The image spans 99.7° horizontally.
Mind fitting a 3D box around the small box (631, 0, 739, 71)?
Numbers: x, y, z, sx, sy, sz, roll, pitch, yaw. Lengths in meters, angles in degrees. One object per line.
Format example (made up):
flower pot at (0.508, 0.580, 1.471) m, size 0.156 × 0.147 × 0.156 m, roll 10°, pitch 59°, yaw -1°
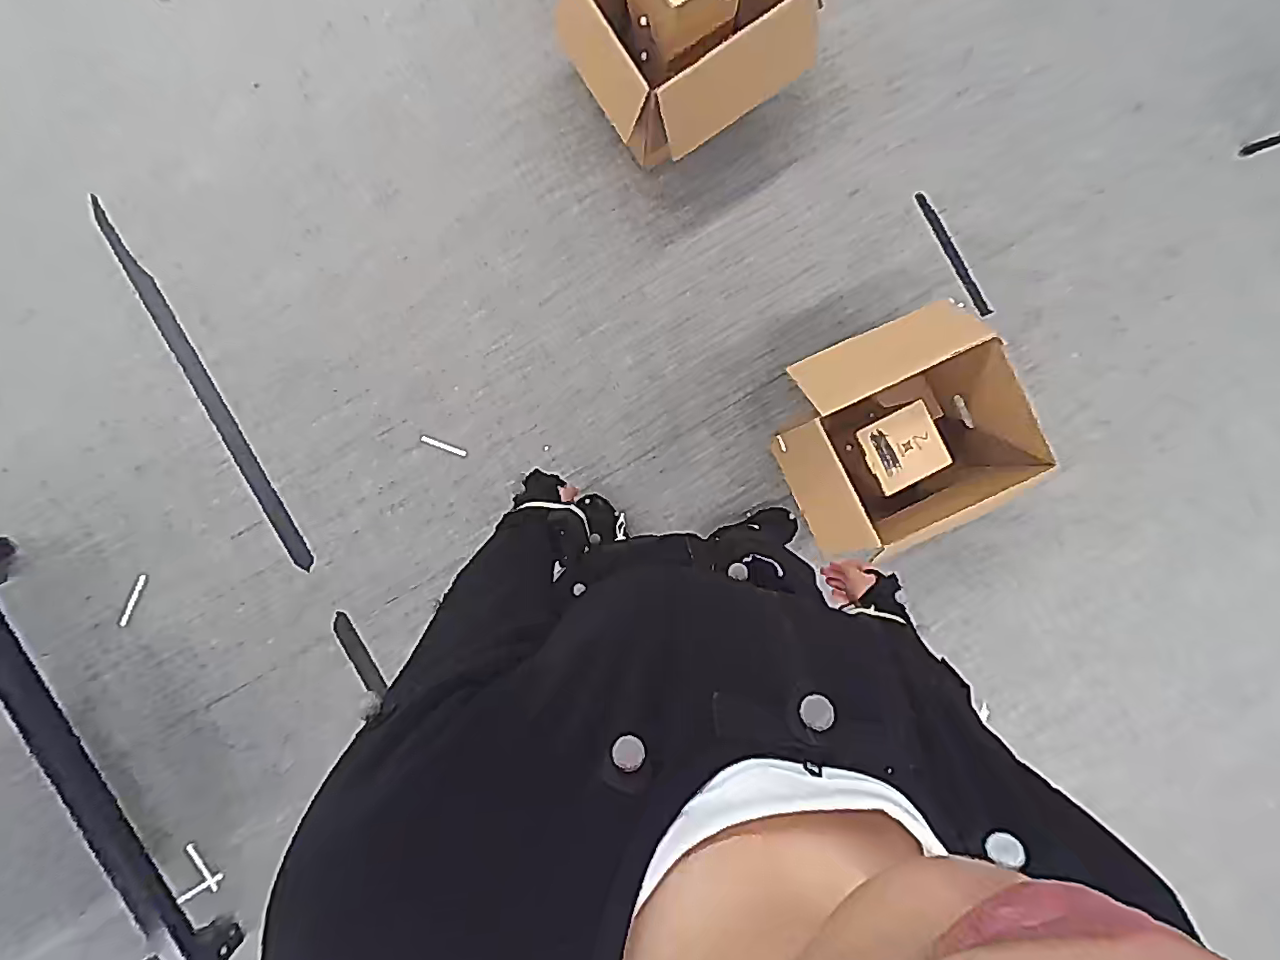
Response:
small box at (0.092, -1.009, 1.111) m, size 0.179 × 0.176 × 0.168 m, roll -33°, pitch 92°, yaw 0°
